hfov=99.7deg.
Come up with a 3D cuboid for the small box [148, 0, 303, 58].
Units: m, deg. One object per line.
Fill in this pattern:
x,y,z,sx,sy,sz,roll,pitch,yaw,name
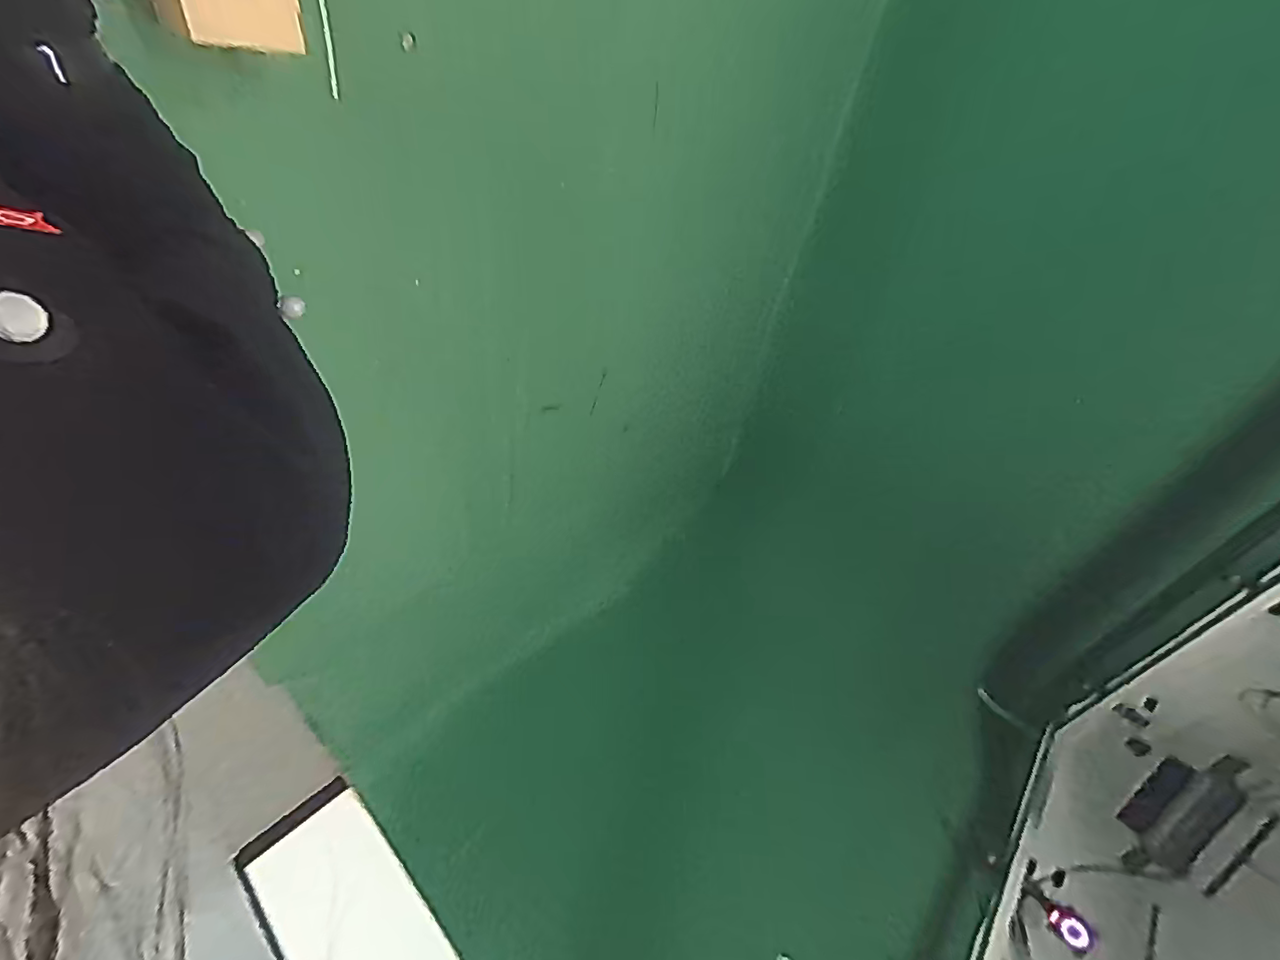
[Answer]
-0.711,-0.834,0.908,0.179,0.176,0.168,-29,143,-38,small box
